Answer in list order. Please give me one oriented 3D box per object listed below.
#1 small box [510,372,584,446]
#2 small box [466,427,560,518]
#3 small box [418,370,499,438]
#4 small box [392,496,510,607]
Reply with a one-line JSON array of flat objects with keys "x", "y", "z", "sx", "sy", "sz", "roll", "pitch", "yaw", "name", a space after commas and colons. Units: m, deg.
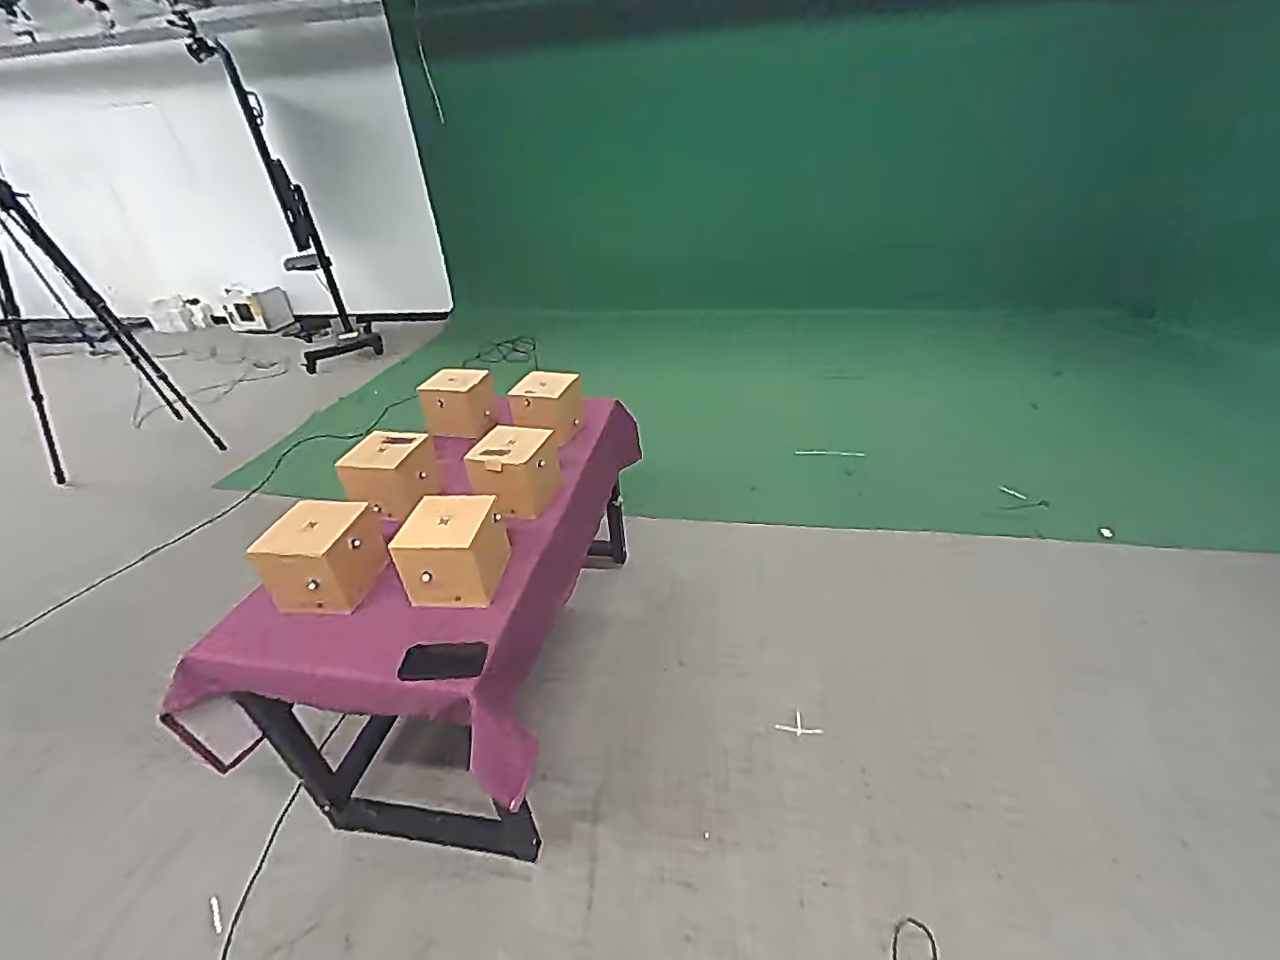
[{"x": -0.285, "y": -0.226, "z": 1.706, "sx": 0.168, "sy": 0.176, "sz": 0.179, "roll": 7, "pitch": 34, "yaw": 16, "name": "small box"}, {"x": -0.317, "y": -0.021, "z": 1.398, "sx": 0.168, "sy": 0.176, "sz": 0.179, "roll": 6, "pitch": 34, "yaw": 15, "name": "small box"}, {"x": -0.590, "y": -0.251, "z": 1.775, "sx": 0.179, "sy": 0.176, "sz": 0.168, "roll": 6, "pitch": 35, "yaw": 13, "name": "small box"}, {"x": -0.386, "y": 0.151, "z": 1.145, "sx": 0.168, "sy": 0.176, "sz": 0.179, "roll": -1, "pitch": 32, "yaw": 6, "name": "small box"}]
